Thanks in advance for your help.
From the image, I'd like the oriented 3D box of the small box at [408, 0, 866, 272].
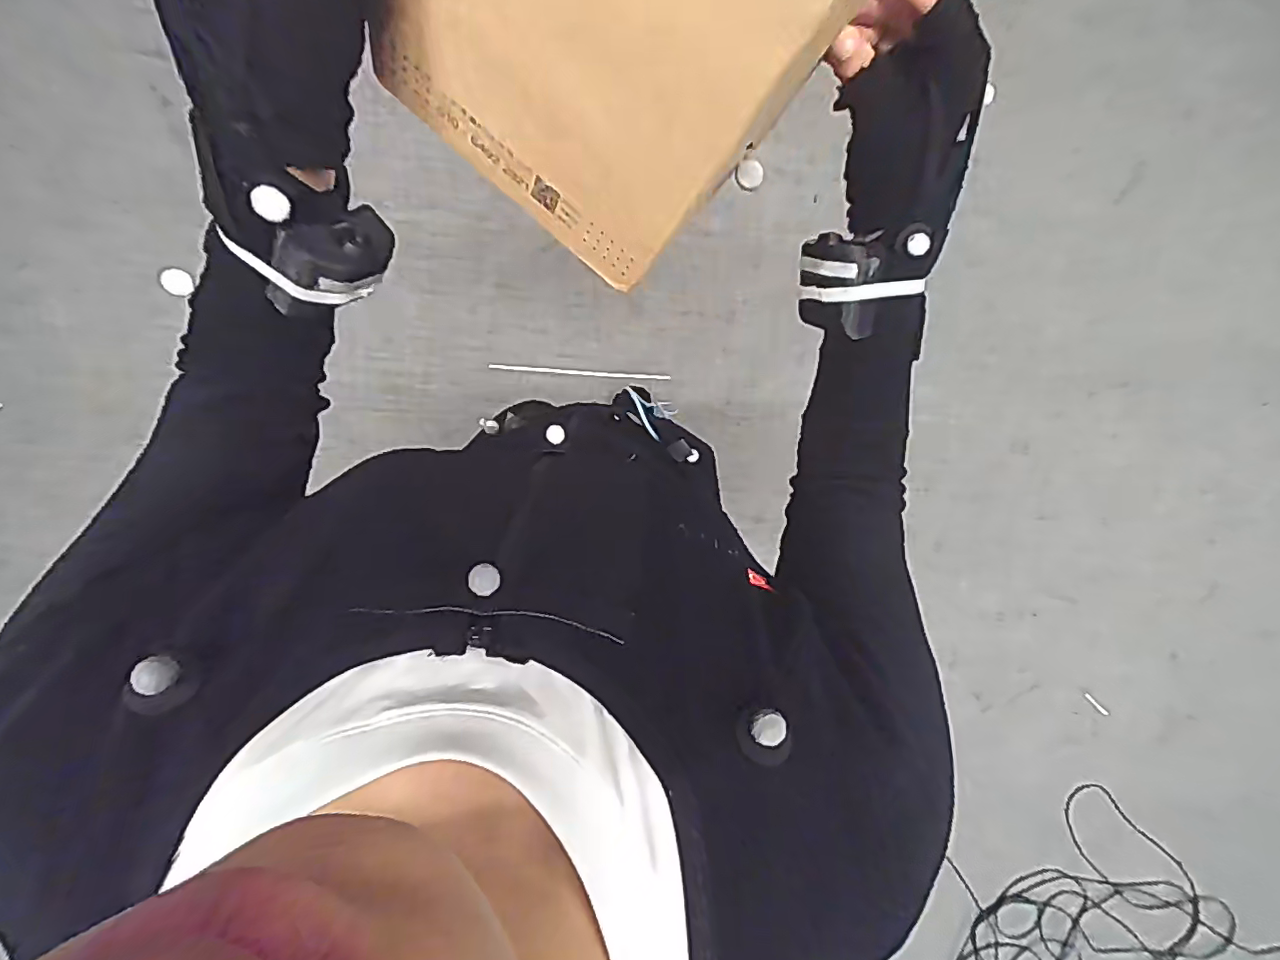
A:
[{"bbox_3d":[0.010,-0.240,0.248,0.168,0.176,0.179,39,66,-9],"label":"small box"}]
